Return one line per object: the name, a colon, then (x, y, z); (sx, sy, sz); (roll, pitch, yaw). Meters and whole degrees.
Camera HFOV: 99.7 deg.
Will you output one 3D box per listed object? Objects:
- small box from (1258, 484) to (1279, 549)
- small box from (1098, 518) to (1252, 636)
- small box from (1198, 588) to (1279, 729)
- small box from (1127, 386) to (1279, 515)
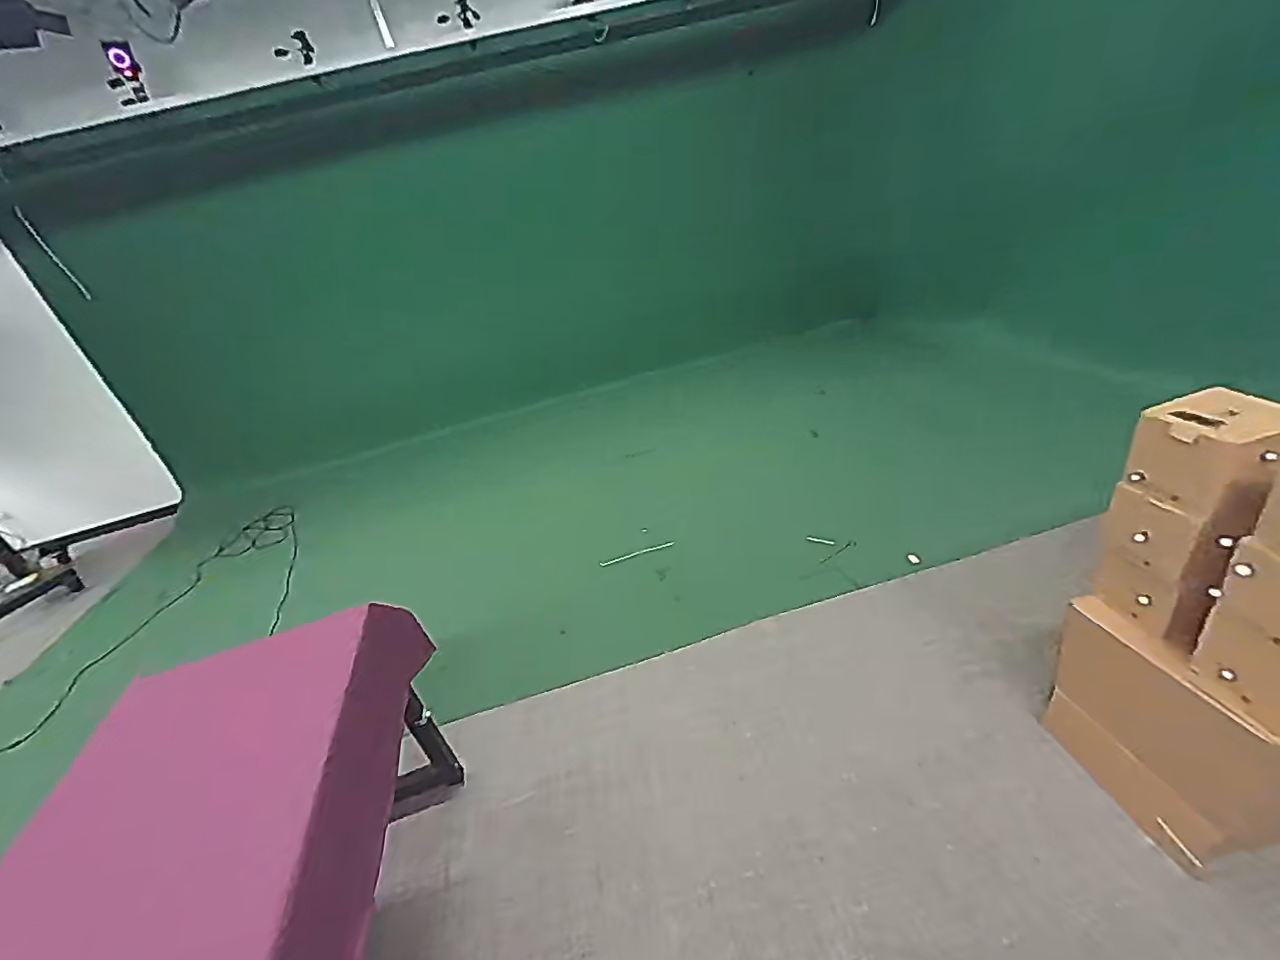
small box: (1.129, 0.050, 0.823); (0.179, 0.176, 0.168); (-8, 28, 12)
small box: (1.169, 0.217, 1.201); (0.179, 0.176, 0.168); (-17, 31, -3)
small box: (1.199, 0.323, 0.993); (0.179, 0.176, 0.168); (-15, 28, 2)
small box: (1.090, -0.056, 1.037); (0.179, 0.176, 0.168); (-17, 31, -5)
